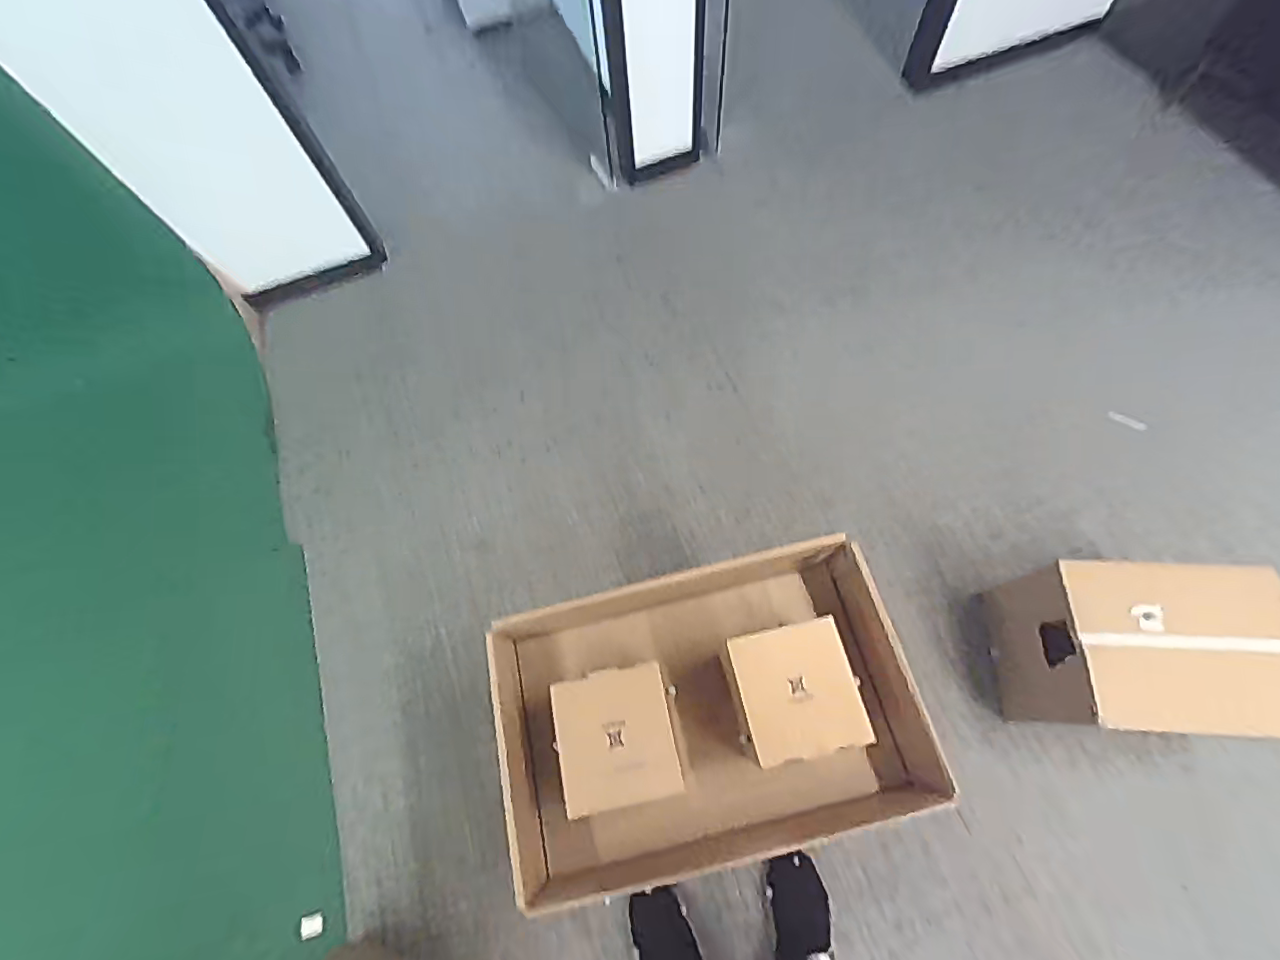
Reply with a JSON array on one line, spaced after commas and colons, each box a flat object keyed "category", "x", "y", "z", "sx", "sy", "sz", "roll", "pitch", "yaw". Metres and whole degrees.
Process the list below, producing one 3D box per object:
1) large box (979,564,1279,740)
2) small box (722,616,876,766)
[{"category": "large box", "x": 1.033, "y": 0.370, "z": 1.157, "sx": 0.408, "sy": 0.320, "sz": 0.320, "roll": 1, "pitch": 66, "yaw": 5}, {"category": "small box", "x": 0.232, "y": 0.327, "z": 0.845, "sx": 0.168, "sy": 0.176, "sz": 0.179, "roll": -13, "pitch": 68, "yaw": -2}]
